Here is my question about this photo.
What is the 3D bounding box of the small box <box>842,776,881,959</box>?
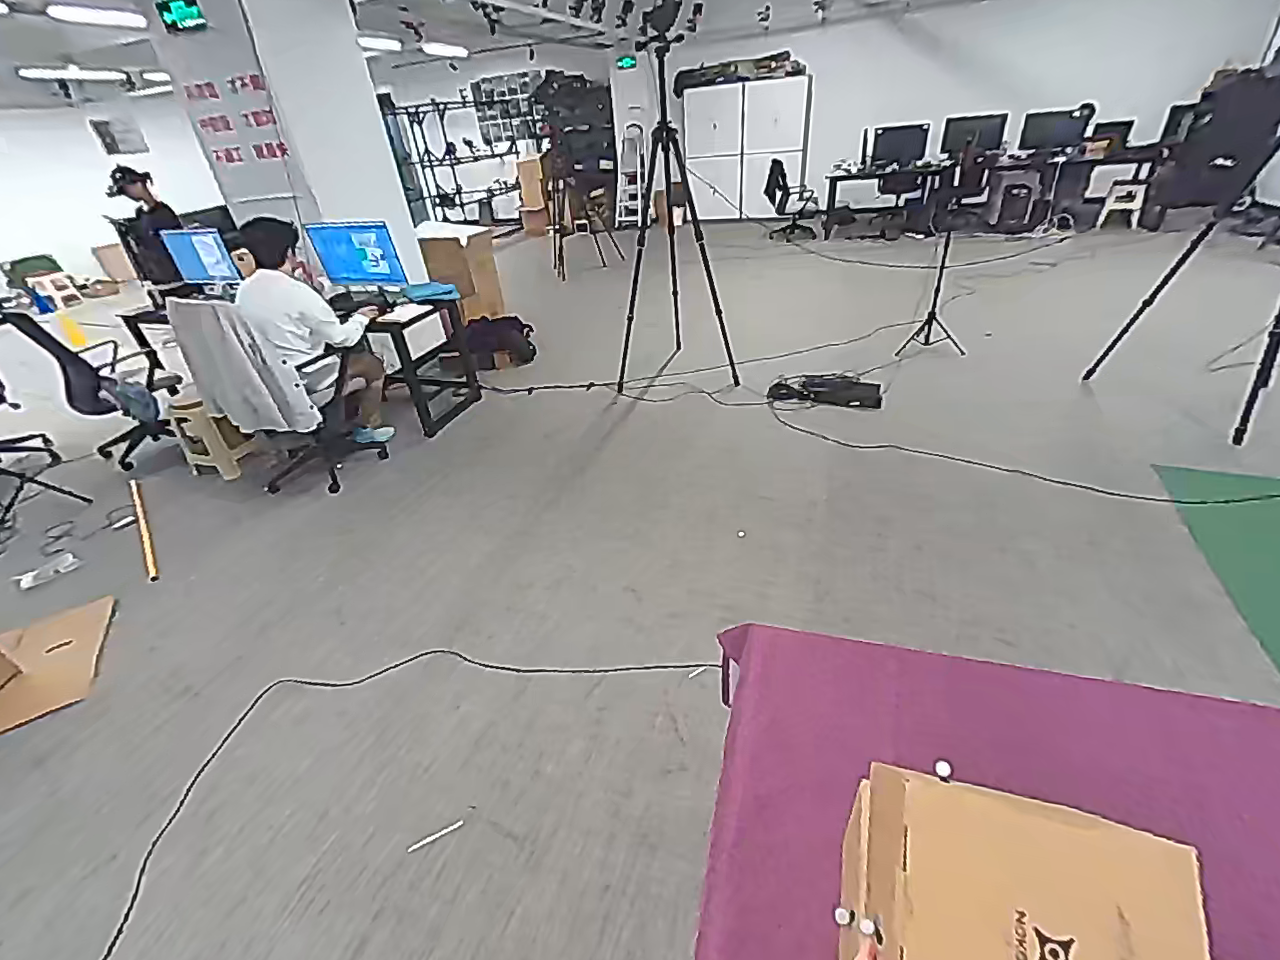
[{"bbox_3d":[0.311,0.461,0.570,0.168,0.176,0.179,7,36,19],"label":"small box"}]

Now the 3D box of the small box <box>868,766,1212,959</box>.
[{"bbox_3d":[0.282,0.333,0.419,0.179,0.176,0.168,6,70,17],"label":"small box"}]
